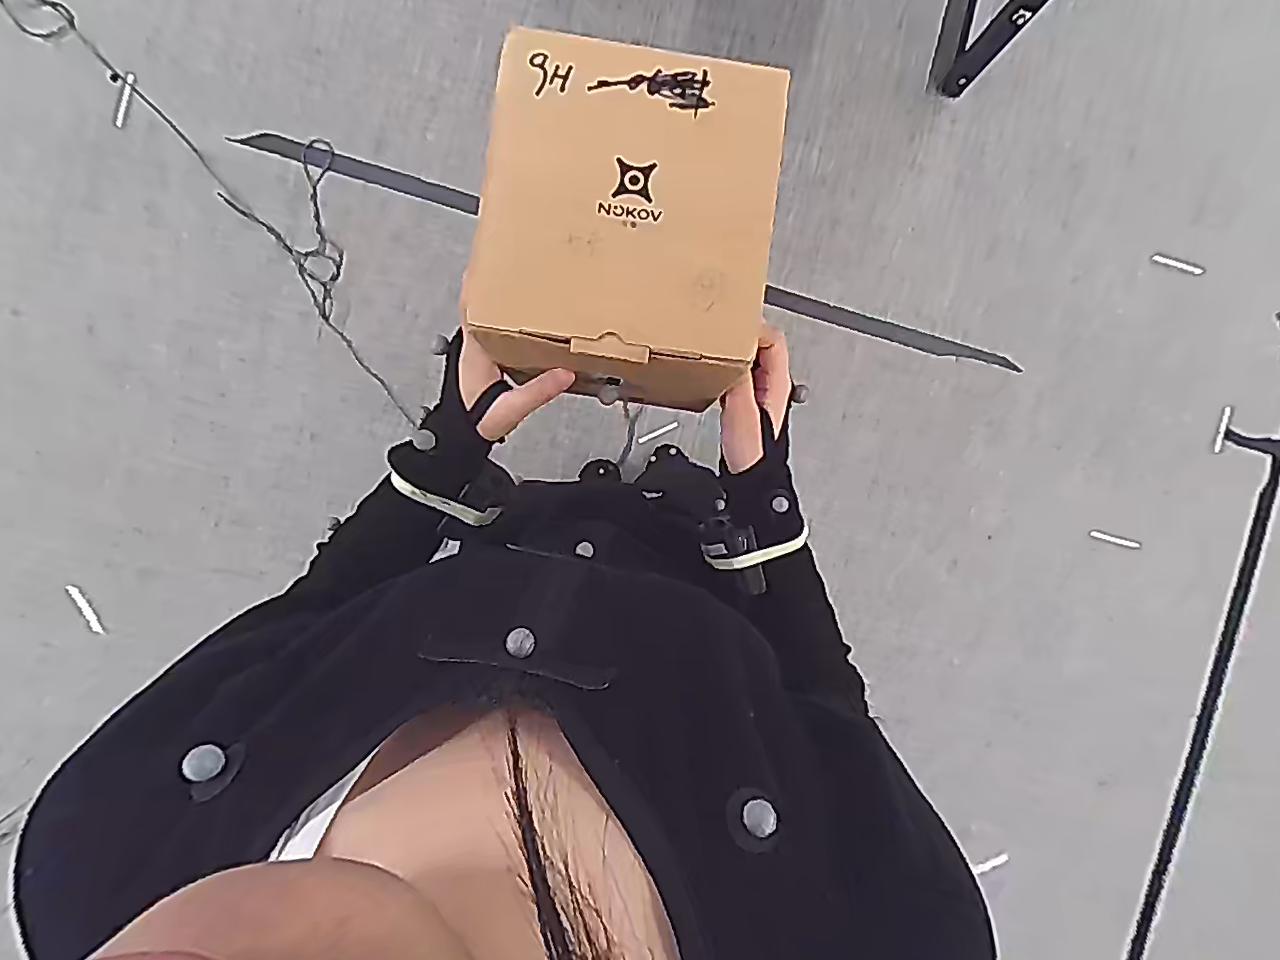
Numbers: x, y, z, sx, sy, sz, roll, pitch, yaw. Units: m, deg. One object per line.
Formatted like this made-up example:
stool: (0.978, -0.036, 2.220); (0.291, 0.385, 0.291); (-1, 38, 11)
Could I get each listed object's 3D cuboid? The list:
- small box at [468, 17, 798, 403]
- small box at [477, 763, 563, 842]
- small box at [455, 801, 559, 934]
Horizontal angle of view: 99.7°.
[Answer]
small box: (-0.006, -0.157, 0.379); (0.168, 0.176, 0.179); (8, 89, -3)
small box: (-0.307, 0.869, 1.404); (0.179, 0.176, 0.168); (17, 91, -5)
small box: (-0.295, 0.877, 1.240); (0.179, 0.176, 0.168); (18, 91, -5)
